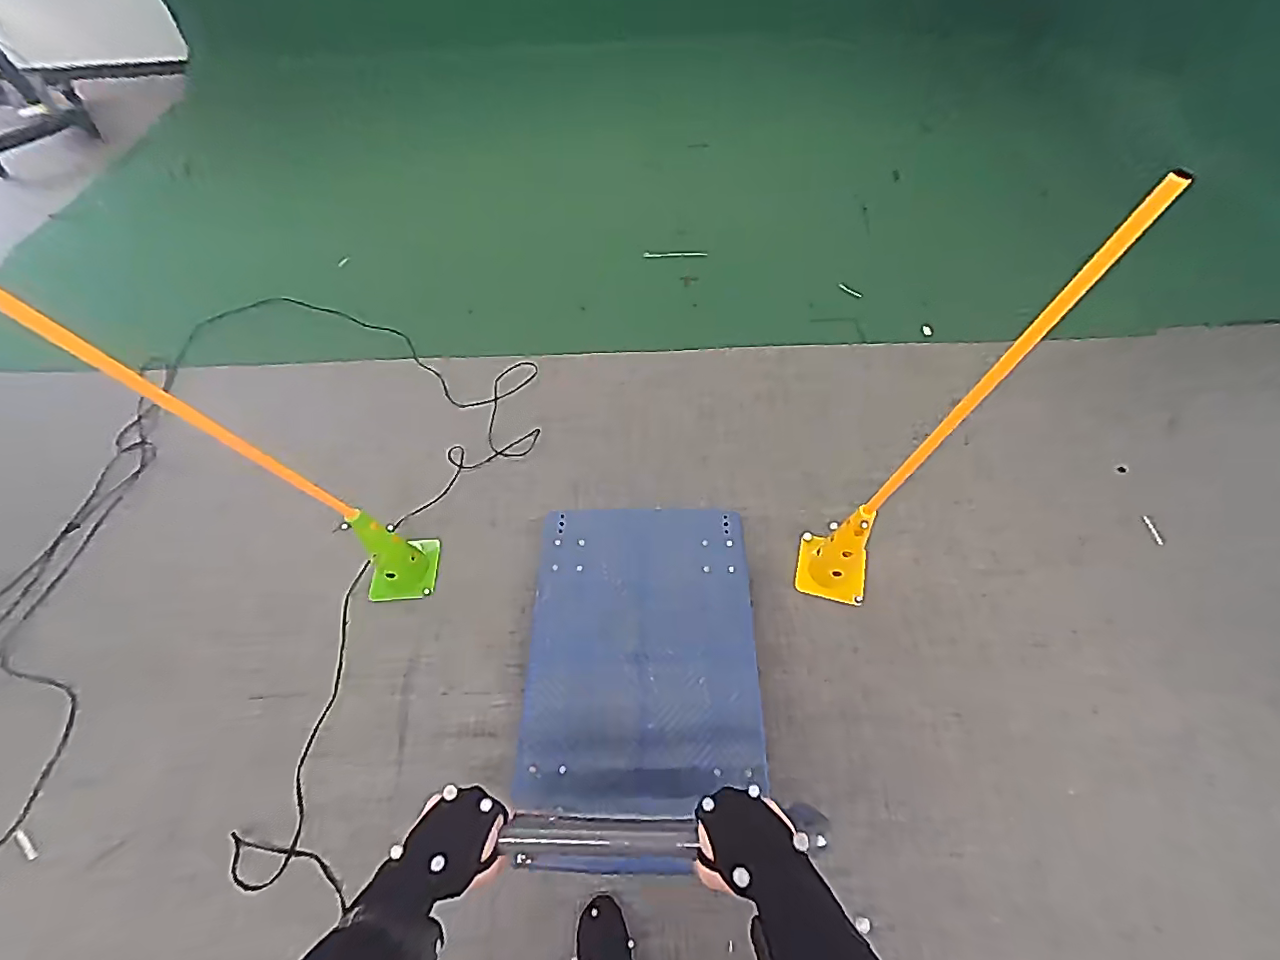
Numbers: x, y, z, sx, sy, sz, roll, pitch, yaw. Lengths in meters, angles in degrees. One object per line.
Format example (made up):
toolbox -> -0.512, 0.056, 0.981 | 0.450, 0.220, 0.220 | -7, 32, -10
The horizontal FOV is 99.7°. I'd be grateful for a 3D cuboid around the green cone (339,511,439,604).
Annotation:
green cone -> -0.754, 0.193, 1.565 | 0.202, 0.368, 0.200 | -6, 56, 1
